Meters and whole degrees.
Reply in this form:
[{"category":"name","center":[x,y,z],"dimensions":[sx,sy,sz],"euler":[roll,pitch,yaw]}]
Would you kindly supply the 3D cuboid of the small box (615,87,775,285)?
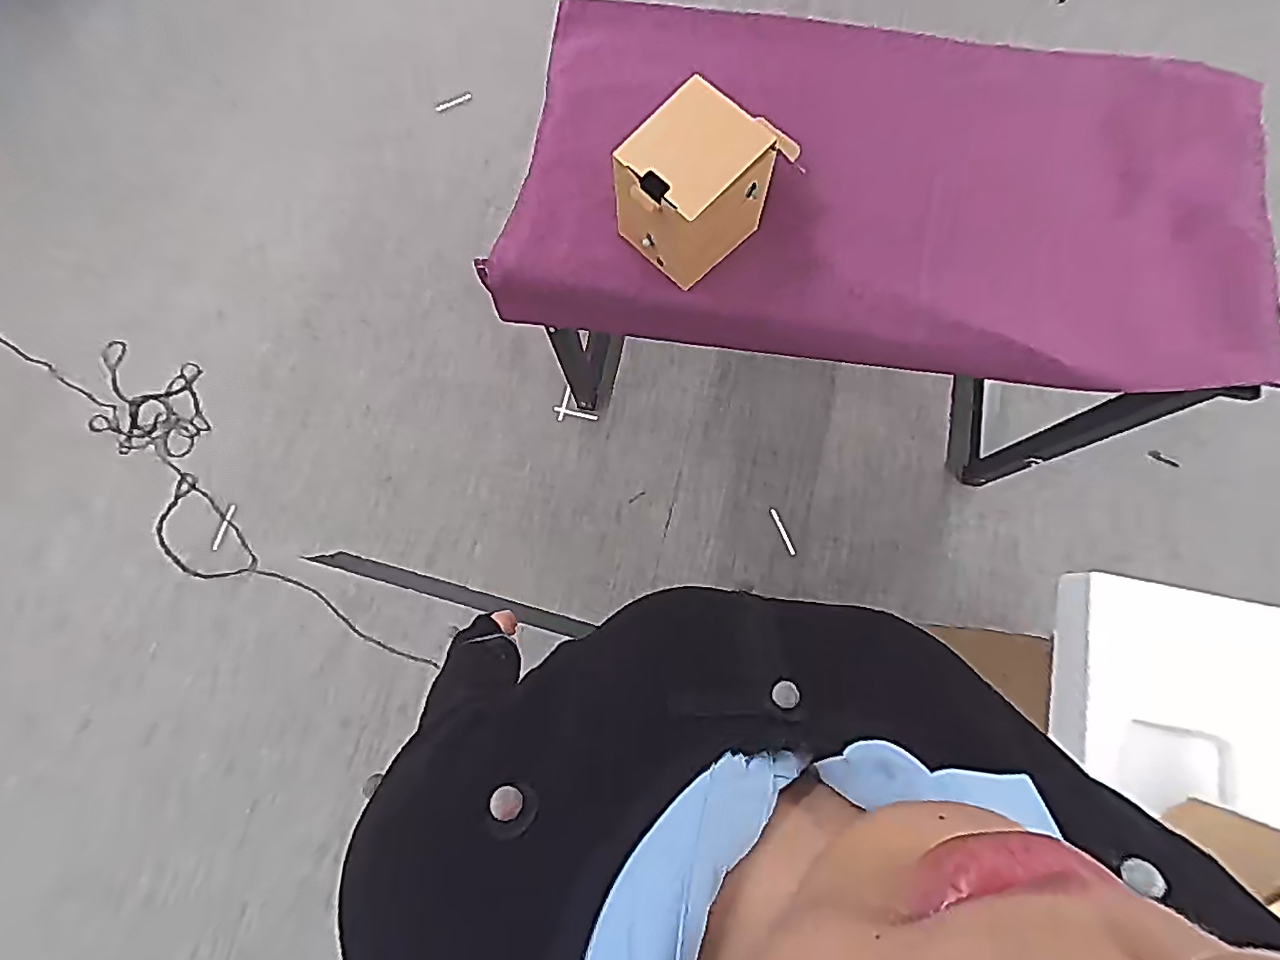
[{"category":"small box","center":[0.080,-0.451,0.851],"dimensions":[0.179,0.176,0.168],"euler":[-43,78,-8]}]
